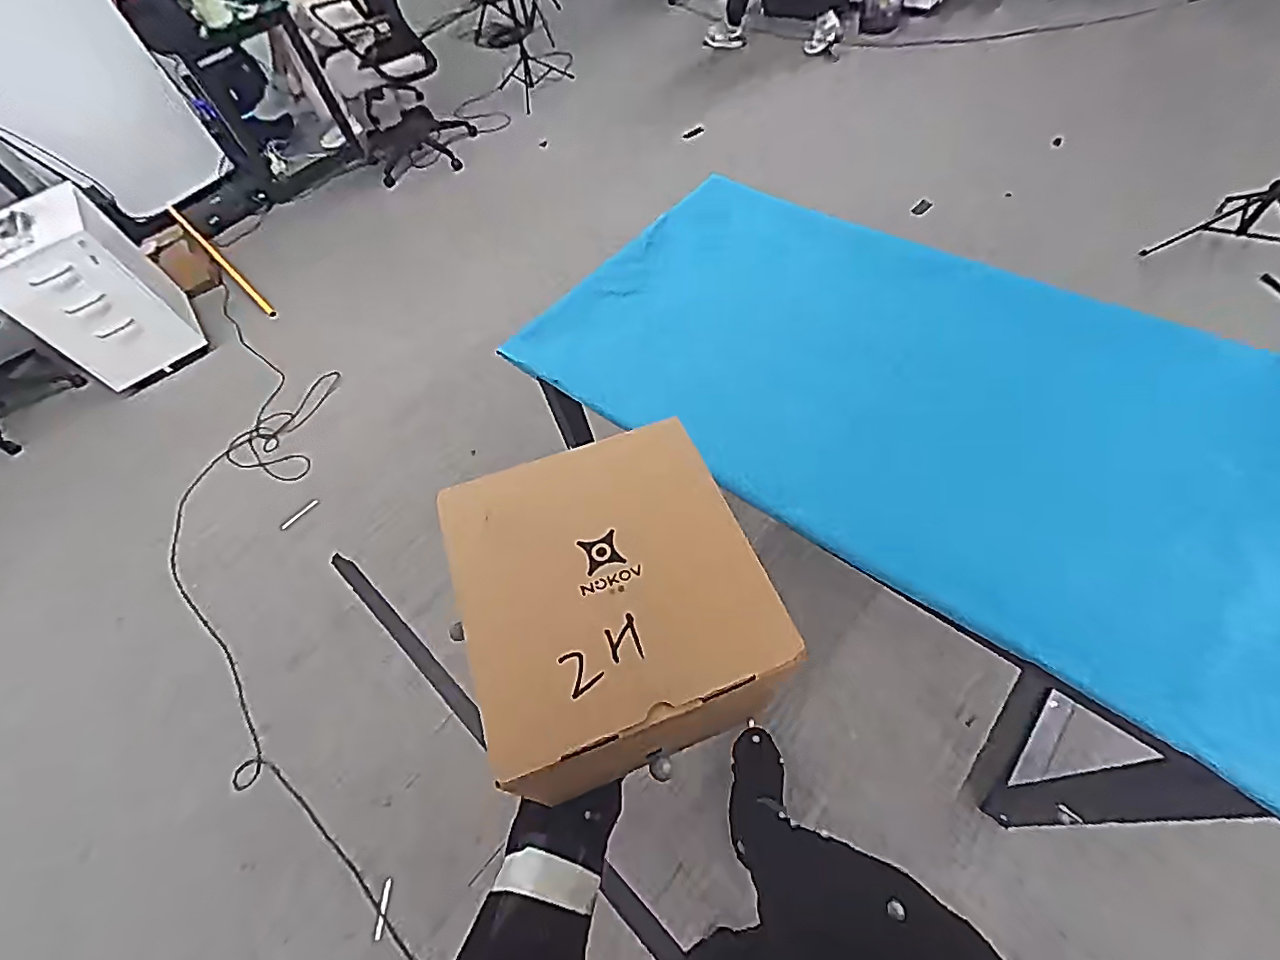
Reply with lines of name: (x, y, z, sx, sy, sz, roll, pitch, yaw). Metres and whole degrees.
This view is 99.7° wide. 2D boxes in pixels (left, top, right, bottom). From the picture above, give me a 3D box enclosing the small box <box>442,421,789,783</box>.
small box: (-0.023, 0.092, 0.378, 0.168, 0.176, 0.179, -16, 60, -7)
